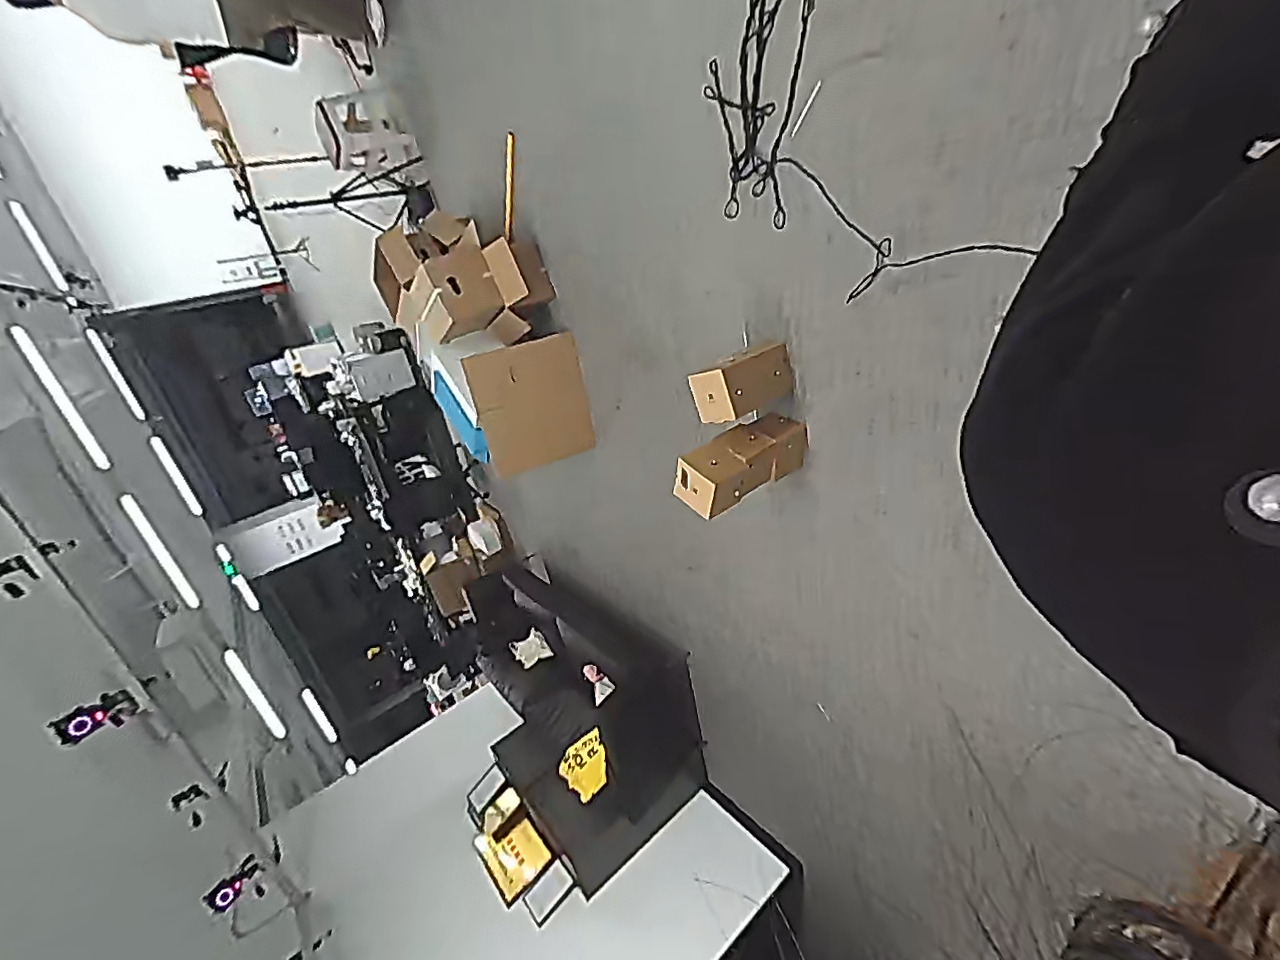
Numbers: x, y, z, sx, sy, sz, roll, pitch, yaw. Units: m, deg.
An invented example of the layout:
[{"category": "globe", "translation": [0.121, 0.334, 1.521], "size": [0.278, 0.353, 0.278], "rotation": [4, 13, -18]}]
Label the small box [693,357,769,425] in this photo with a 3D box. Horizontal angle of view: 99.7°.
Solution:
[{"category": "small box", "translation": [0.313, -0.298, 1.830], "size": [0.168, 0.176, 0.179], "rotation": [2, 116, 55]}]

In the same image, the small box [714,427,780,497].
[{"category": "small box", "translation": [0.375, -0.061, 1.925], "size": [0.168, 0.176, 0.179], "rotation": [37, 140, 38]}]

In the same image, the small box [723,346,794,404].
[{"category": "small box", "translation": [0.429, -0.371, 1.919], "size": [0.179, 0.176, 0.168], "rotation": [10, 121, 54]}]

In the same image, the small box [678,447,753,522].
[{"category": "small box", "translation": [0.254, 0.006, 1.836], "size": [0.179, 0.176, 0.168], "rotation": [40, 142, 33]}]
